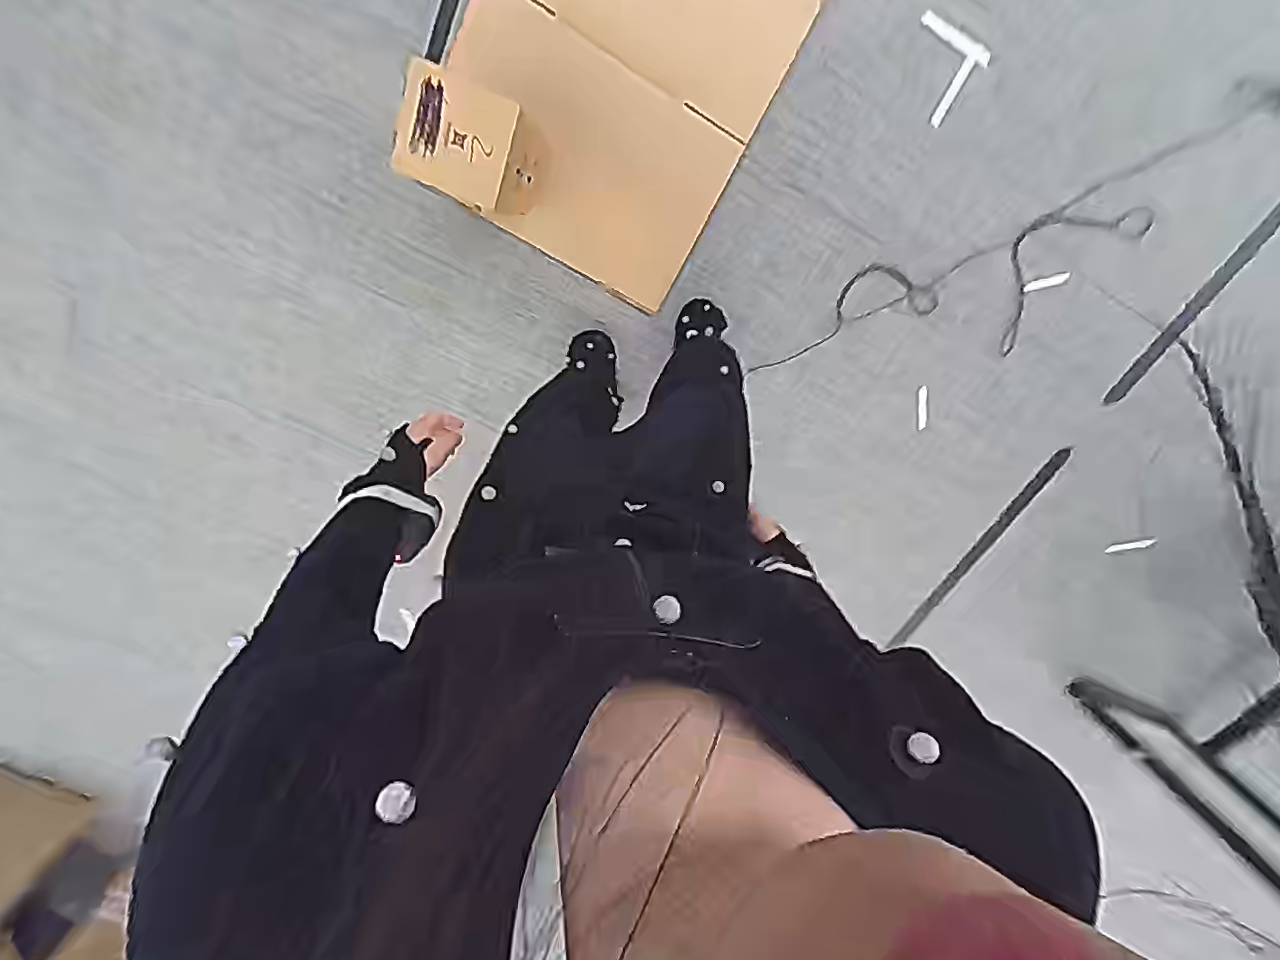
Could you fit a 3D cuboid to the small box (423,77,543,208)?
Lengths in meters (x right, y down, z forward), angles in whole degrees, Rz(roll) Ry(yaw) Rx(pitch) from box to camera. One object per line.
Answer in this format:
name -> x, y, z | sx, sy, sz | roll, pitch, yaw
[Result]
small box -> -0.305, -0.655, 1.074 | 0.179, 0.176, 0.168 | 16, 113, -10
